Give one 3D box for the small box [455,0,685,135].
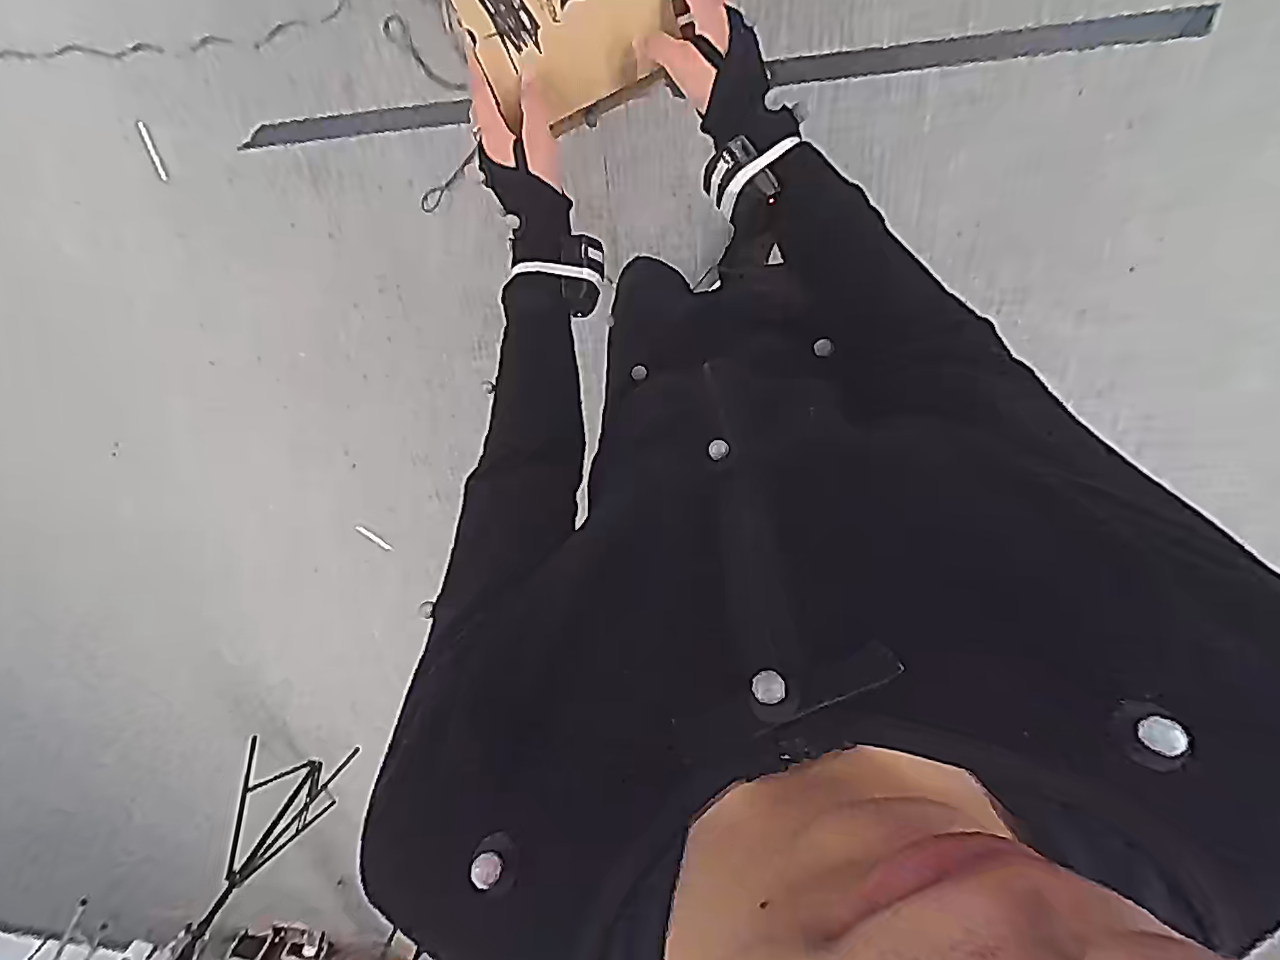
[{"bbox_3d":[-0.073,-0.455,0.517,0.179,0.176,0.168,-22,119,7],"label":"small box"}]
